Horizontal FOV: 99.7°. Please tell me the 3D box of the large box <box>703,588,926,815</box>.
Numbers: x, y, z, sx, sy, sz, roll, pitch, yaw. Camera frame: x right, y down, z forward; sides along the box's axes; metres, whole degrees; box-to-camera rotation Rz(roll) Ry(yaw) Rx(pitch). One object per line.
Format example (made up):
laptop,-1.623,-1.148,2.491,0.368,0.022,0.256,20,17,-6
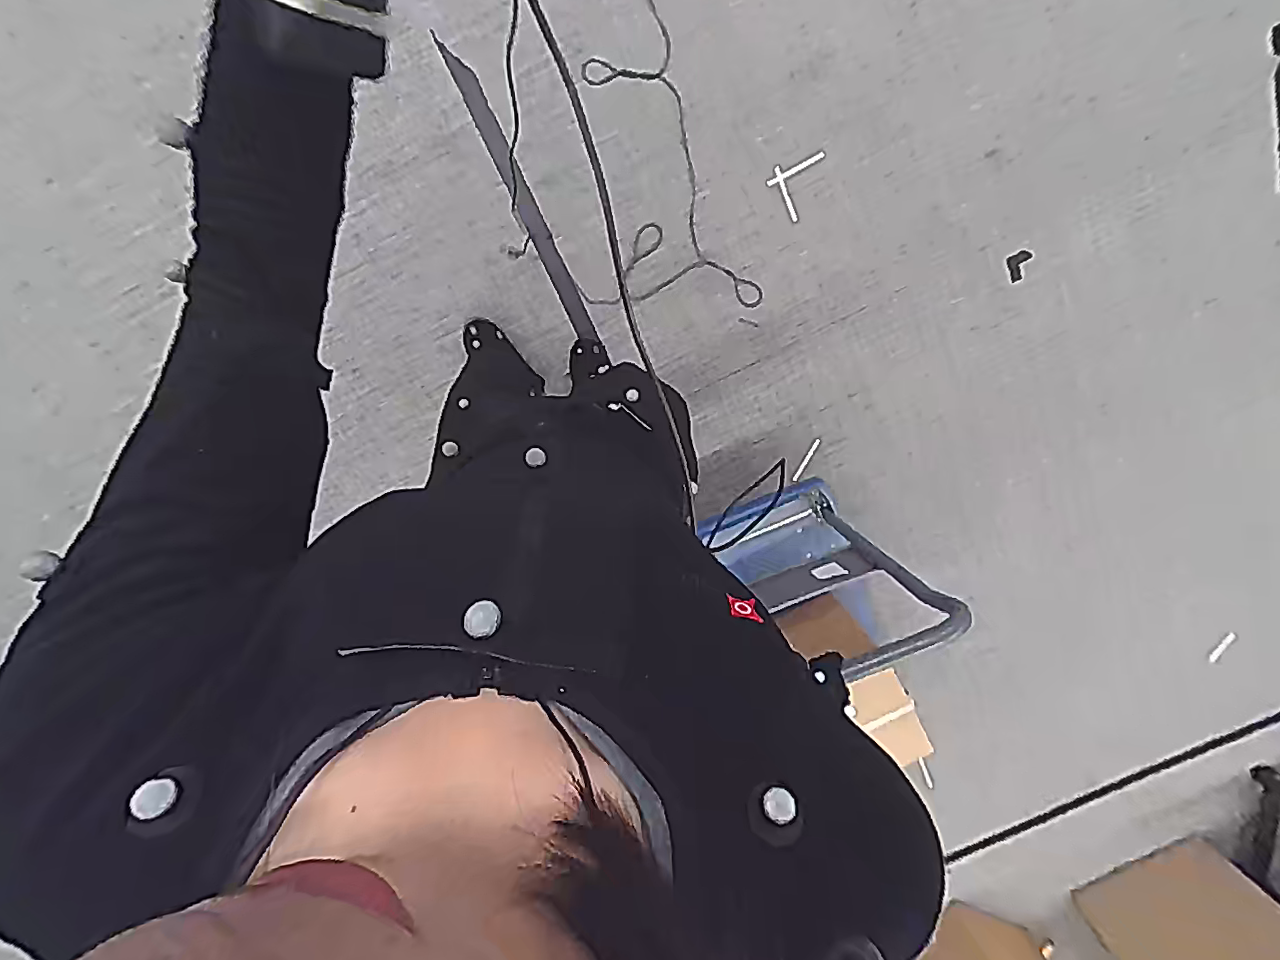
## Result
large box,0.425,0.552,1.394,0.408,0.320,0.320,-29,105,6
